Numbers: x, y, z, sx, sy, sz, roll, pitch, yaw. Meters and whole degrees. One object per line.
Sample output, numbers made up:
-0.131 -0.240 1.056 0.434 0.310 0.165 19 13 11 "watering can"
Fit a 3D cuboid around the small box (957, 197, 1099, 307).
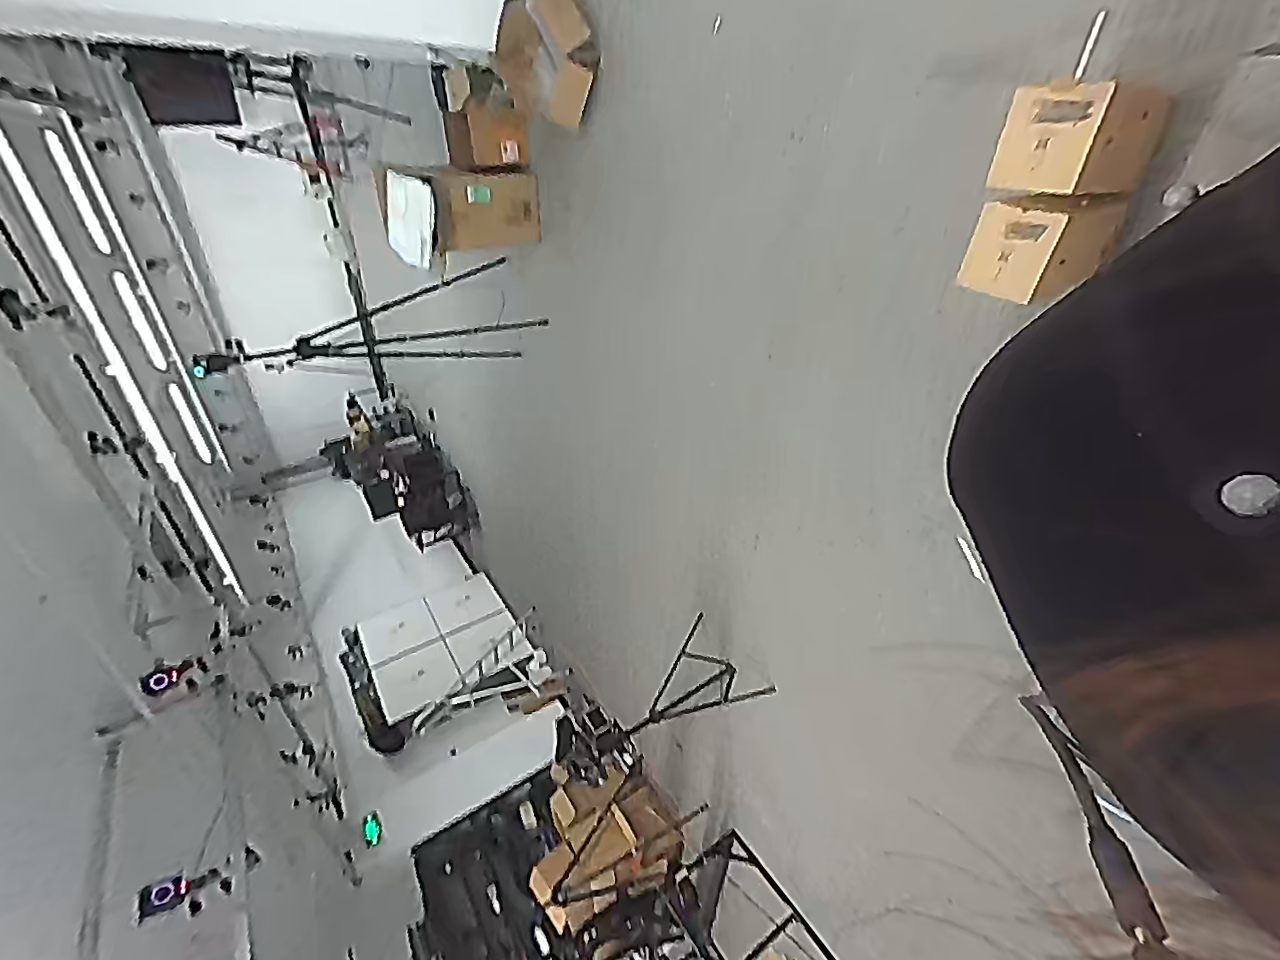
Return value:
0.838 -0.499 1.167 0.168 0.176 0.179 44 145 40 "small box"
